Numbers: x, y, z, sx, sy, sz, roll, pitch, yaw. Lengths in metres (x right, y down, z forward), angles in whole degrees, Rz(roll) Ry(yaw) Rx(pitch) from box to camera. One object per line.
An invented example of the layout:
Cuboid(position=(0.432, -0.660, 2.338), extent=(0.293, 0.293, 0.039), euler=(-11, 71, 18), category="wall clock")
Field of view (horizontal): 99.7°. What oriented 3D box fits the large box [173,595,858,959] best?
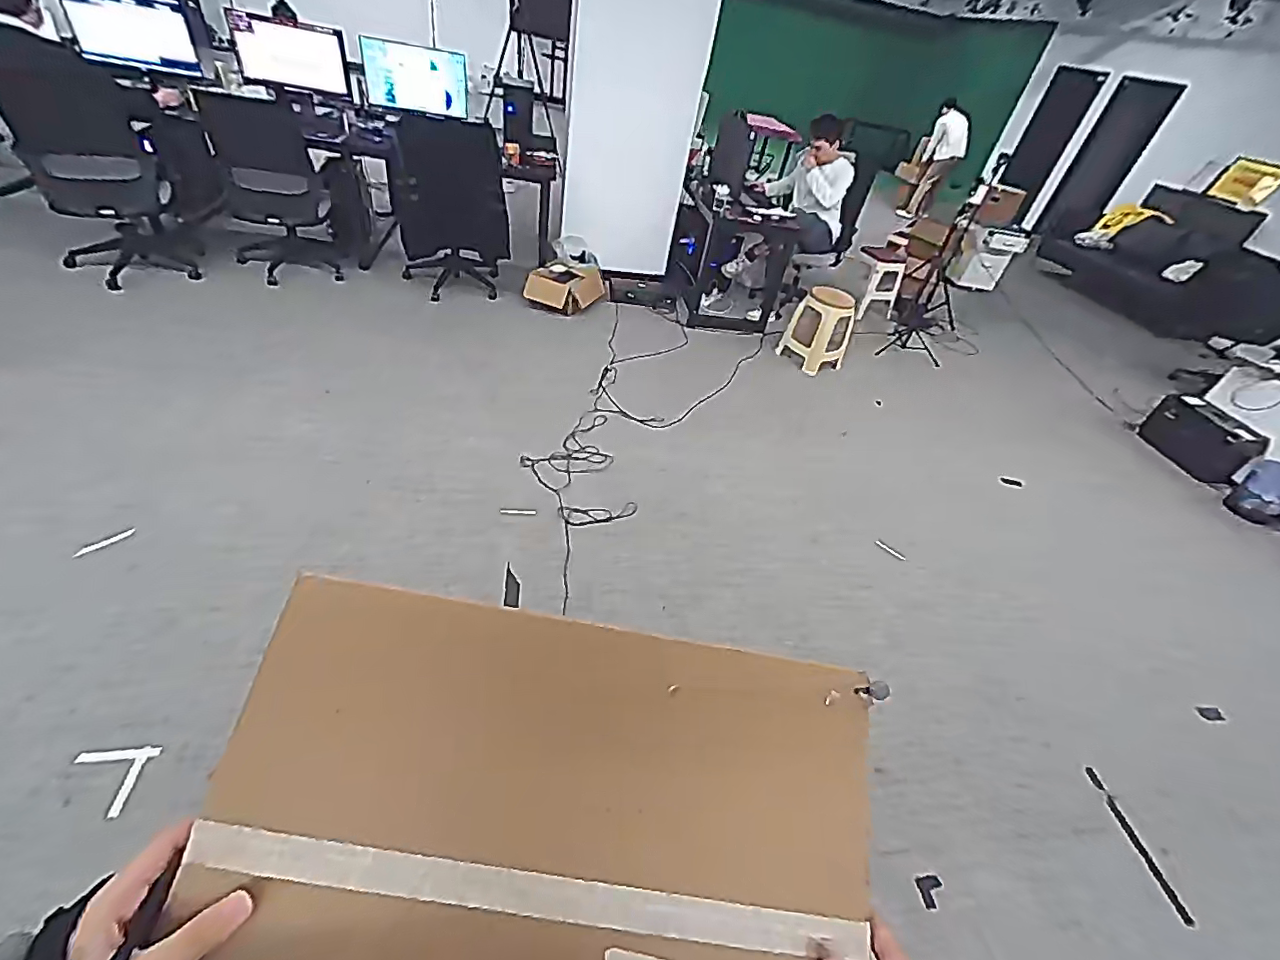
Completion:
Cuboid(position=(-0.077, 0.306, 0.470), extent=(0.408, 0.320, 0.320), euler=(11, 69, -3), category="large box")
